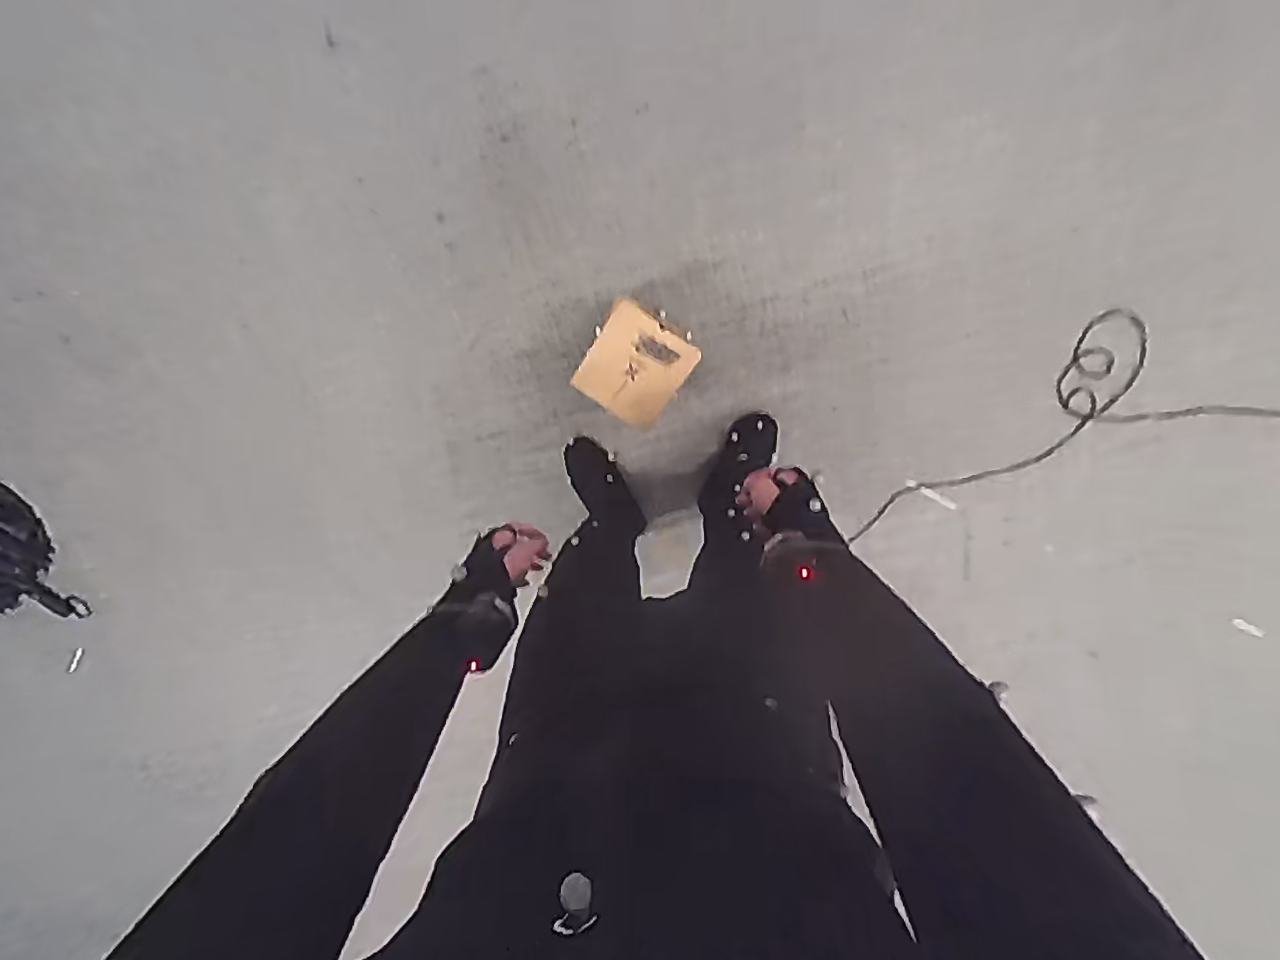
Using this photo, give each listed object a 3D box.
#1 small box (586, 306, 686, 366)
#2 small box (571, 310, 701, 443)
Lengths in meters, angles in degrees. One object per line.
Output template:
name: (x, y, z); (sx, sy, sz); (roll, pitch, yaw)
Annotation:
small box: (-0.012, -0.255, 1.171); (0.168, 0.176, 0.179); (27, 105, -5)
small box: (-0.005, -0.199, 1.016); (0.168, 0.176, 0.179); (34, 106, -7)
